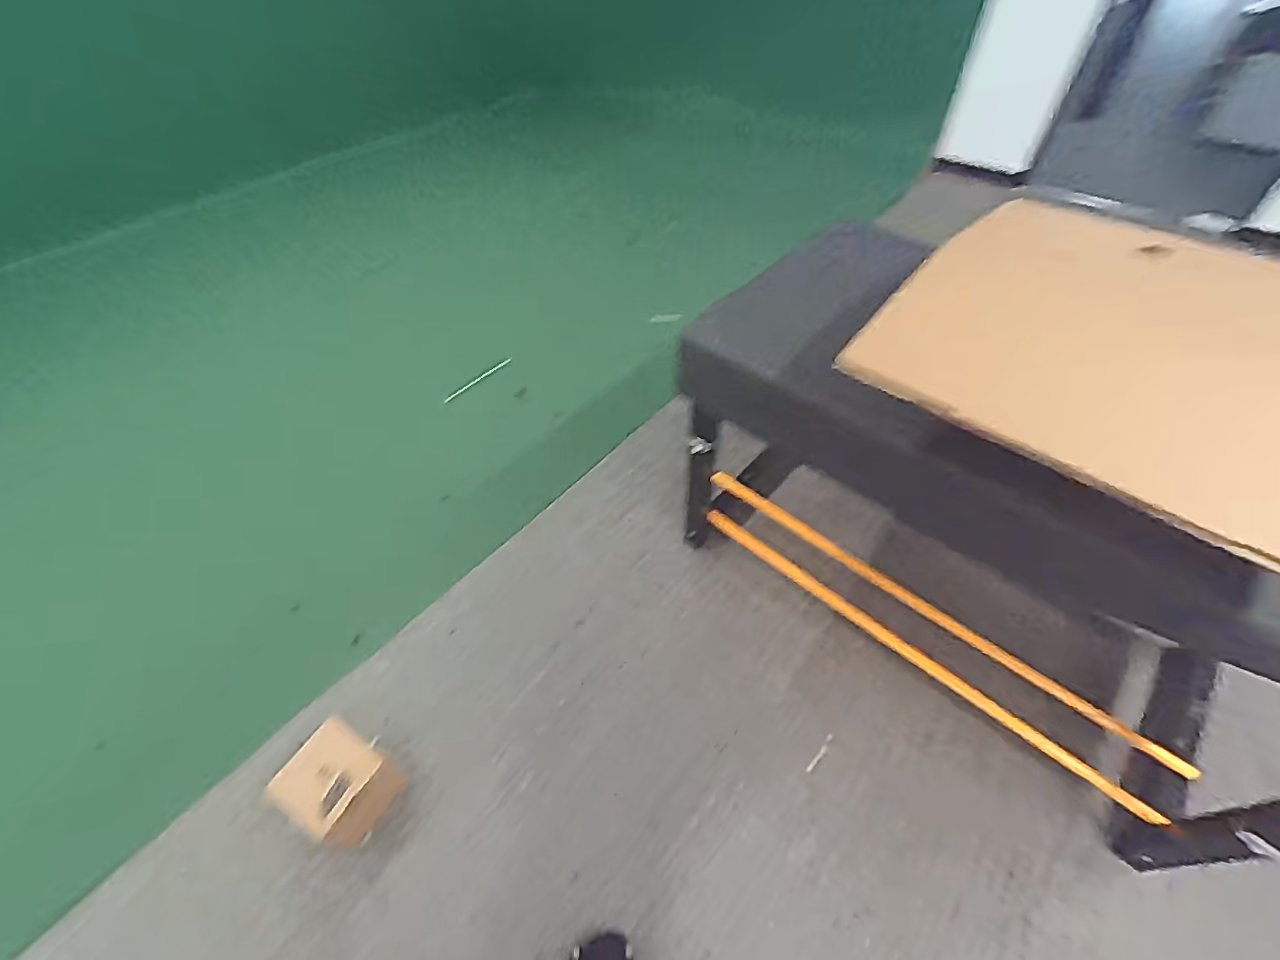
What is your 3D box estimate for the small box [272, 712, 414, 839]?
[{"bbox_3d":[-0.620,0.634,1.153,0.179,0.176,0.168,24,56,22],"label":"small box"}]
